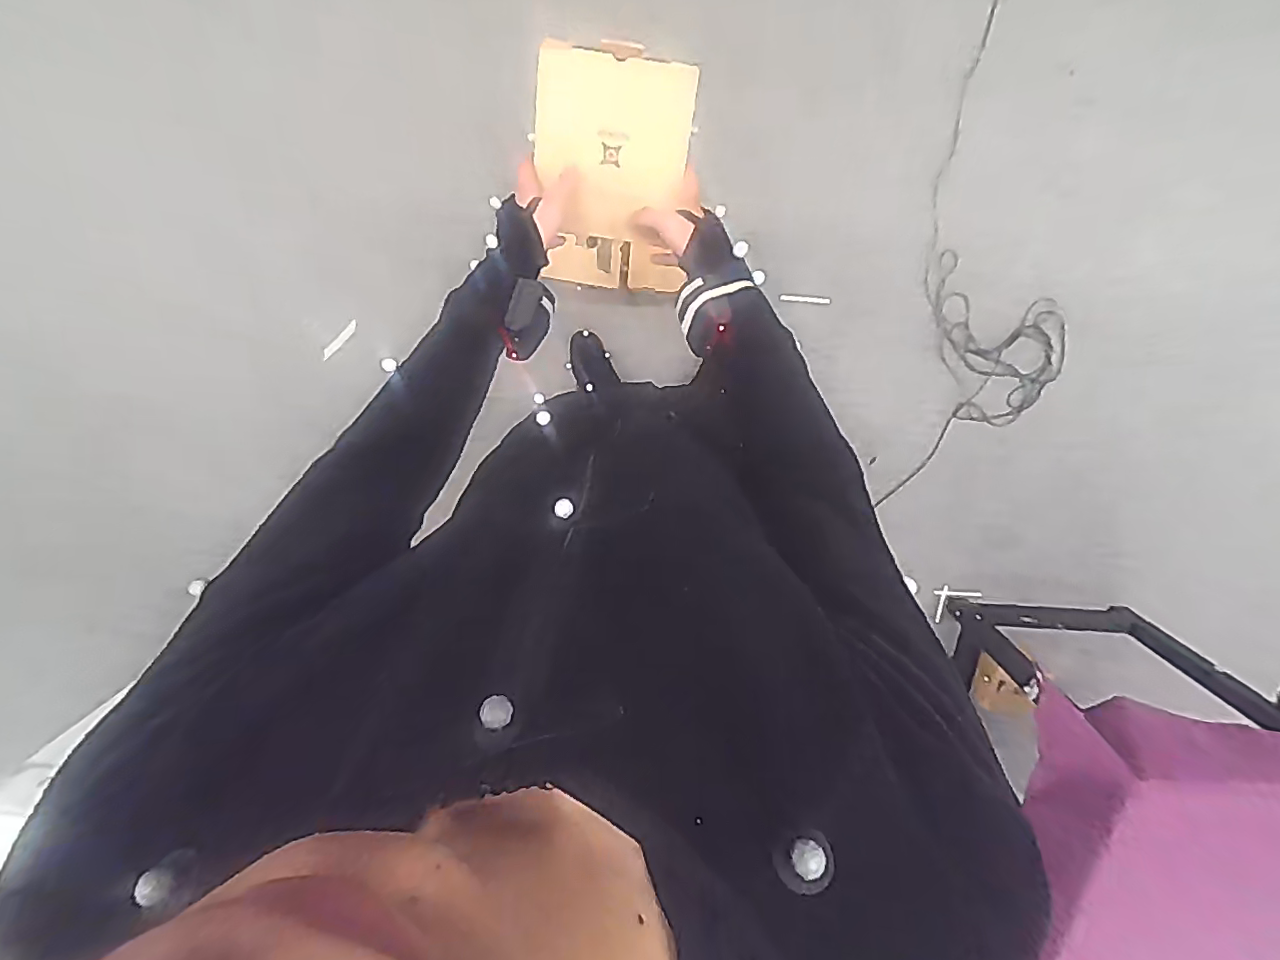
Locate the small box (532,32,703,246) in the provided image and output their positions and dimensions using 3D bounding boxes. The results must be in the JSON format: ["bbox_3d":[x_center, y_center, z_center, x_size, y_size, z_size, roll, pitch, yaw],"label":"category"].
[{"bbox_3d":[-0.032,-0.389,0.648,0.168,0.176,0.179,6,115,-5],"label":"small box"}]
